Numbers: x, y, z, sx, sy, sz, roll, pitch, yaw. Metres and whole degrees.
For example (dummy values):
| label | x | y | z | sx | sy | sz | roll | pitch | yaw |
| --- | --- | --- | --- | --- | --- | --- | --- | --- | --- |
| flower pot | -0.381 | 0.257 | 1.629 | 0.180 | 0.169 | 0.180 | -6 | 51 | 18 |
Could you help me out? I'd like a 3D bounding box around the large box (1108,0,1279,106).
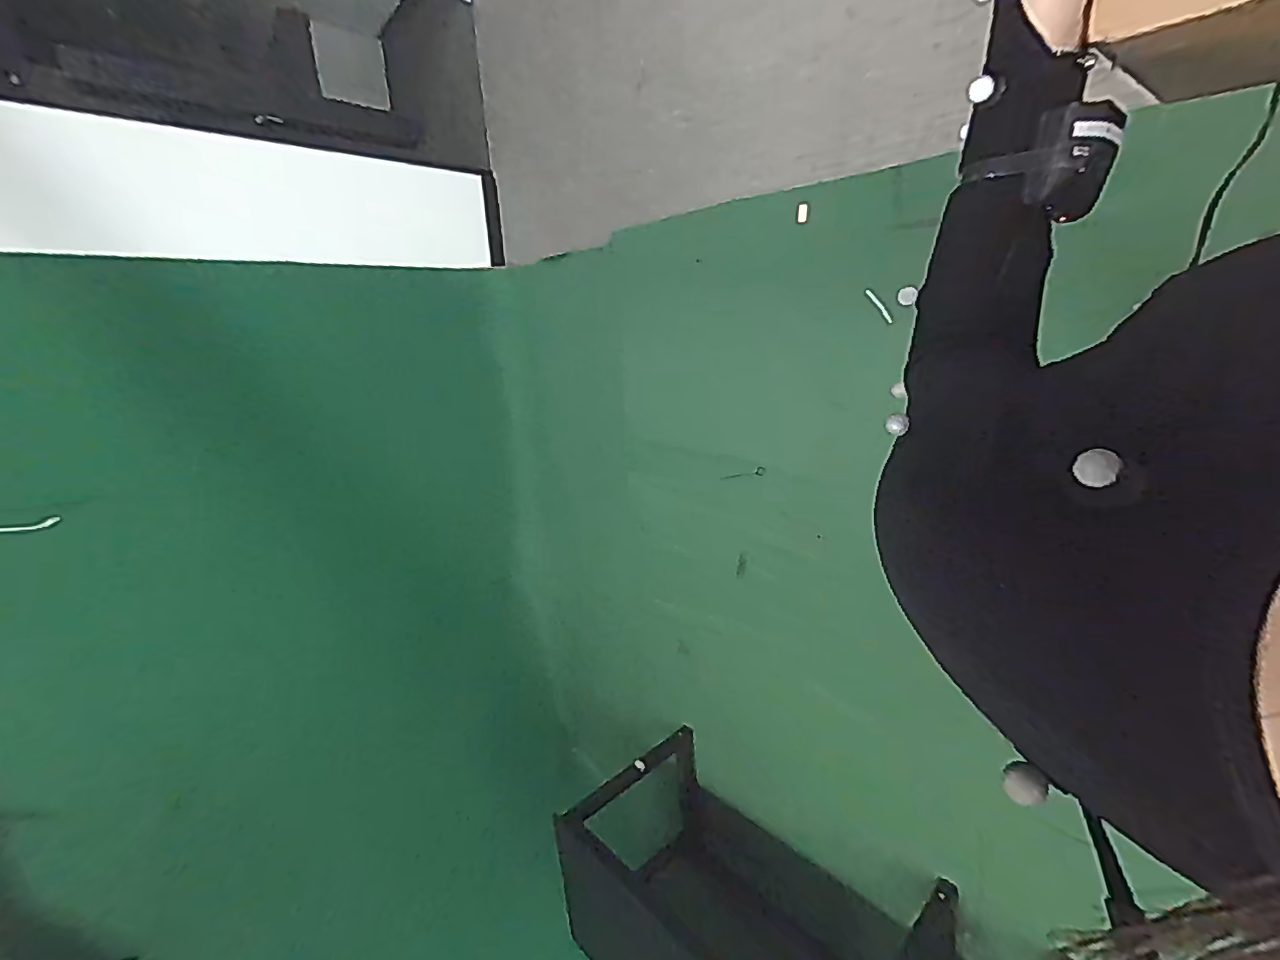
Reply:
| label | x | y | z | sx | sy | sz | roll | pitch | yaw |
| --- | --- | --- | --- | --- | --- | --- | --- | --- | --- |
| large box | 0.533 | -0.438 | 0.261 | 0.408 | 0.320 | 0.320 | 15 | 119 | 45 |
